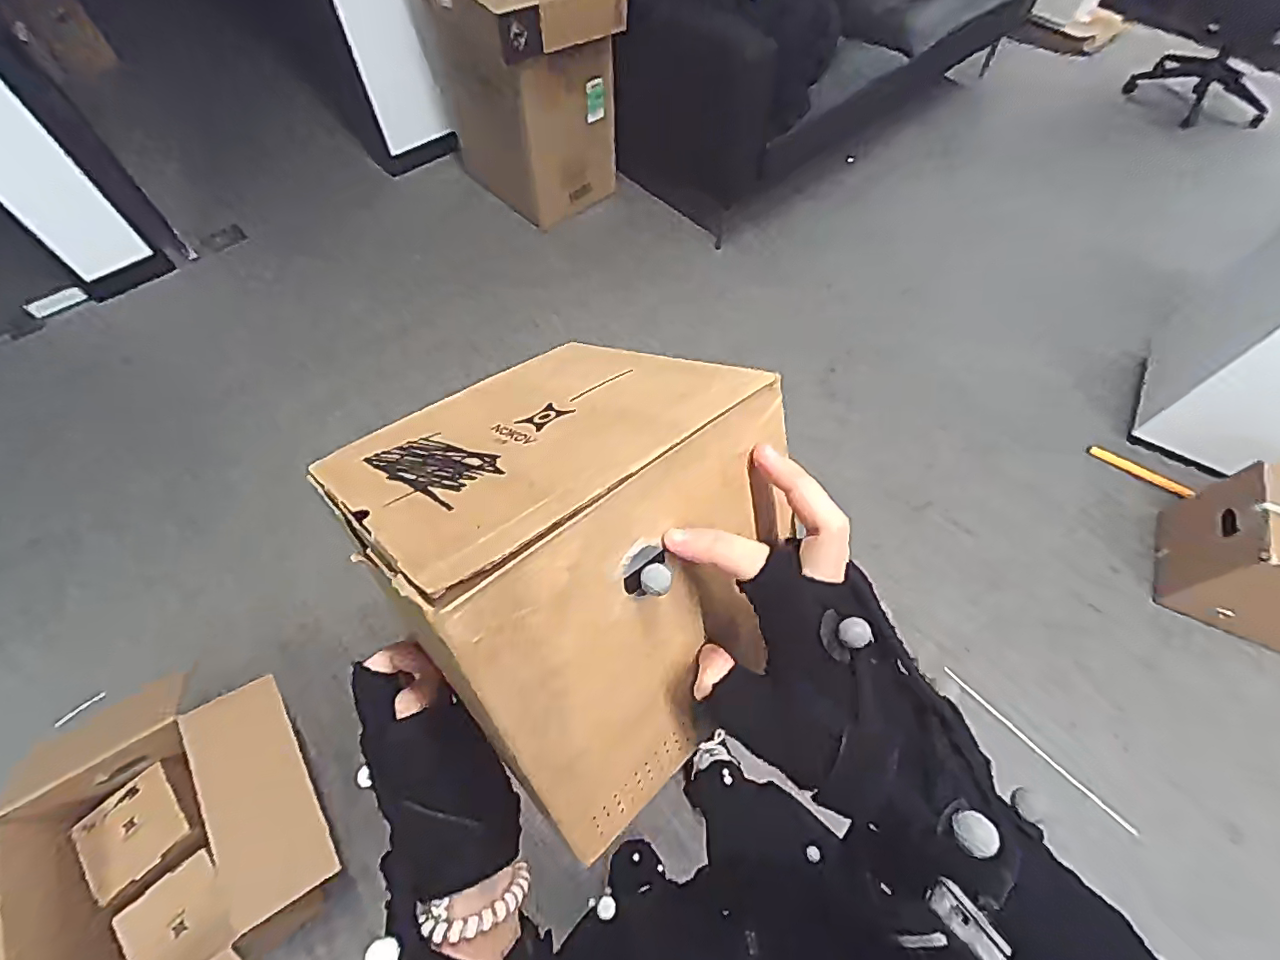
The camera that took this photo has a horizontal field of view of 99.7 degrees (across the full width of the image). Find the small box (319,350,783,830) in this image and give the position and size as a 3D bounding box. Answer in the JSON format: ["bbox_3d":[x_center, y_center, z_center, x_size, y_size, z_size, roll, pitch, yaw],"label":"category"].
[{"bbox_3d":[-0.035,0.044,0.306,0.179,0.176,0.168,-35,36,-29],"label":"small box"}]
